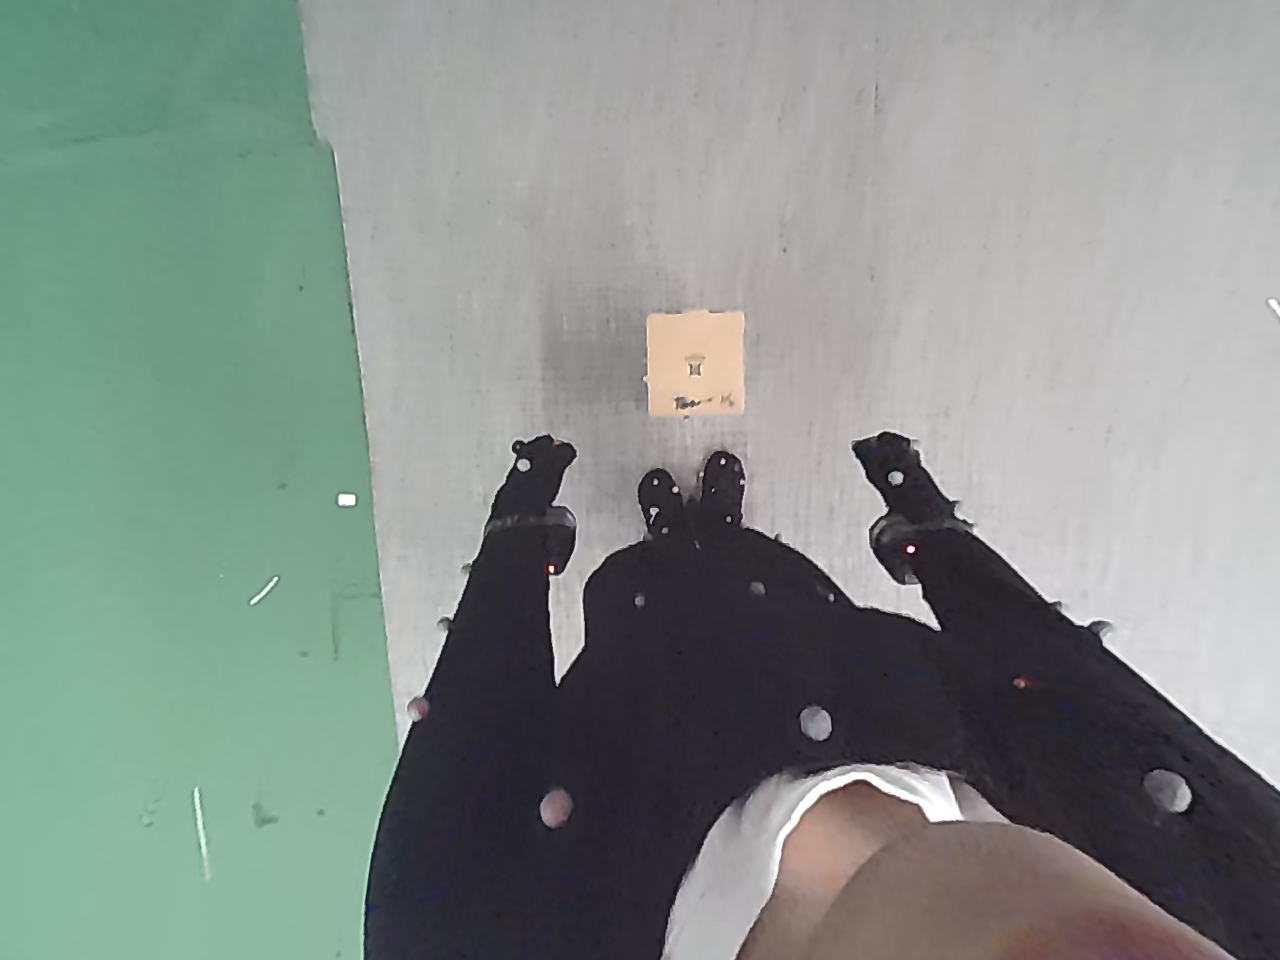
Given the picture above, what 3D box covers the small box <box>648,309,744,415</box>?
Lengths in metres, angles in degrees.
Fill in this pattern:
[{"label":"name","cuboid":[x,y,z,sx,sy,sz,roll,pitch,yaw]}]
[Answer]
[{"label":"small box","cuboid":[0.099,-0.210,0.998,0.168,0.176,0.179,-1,97,4]}]
